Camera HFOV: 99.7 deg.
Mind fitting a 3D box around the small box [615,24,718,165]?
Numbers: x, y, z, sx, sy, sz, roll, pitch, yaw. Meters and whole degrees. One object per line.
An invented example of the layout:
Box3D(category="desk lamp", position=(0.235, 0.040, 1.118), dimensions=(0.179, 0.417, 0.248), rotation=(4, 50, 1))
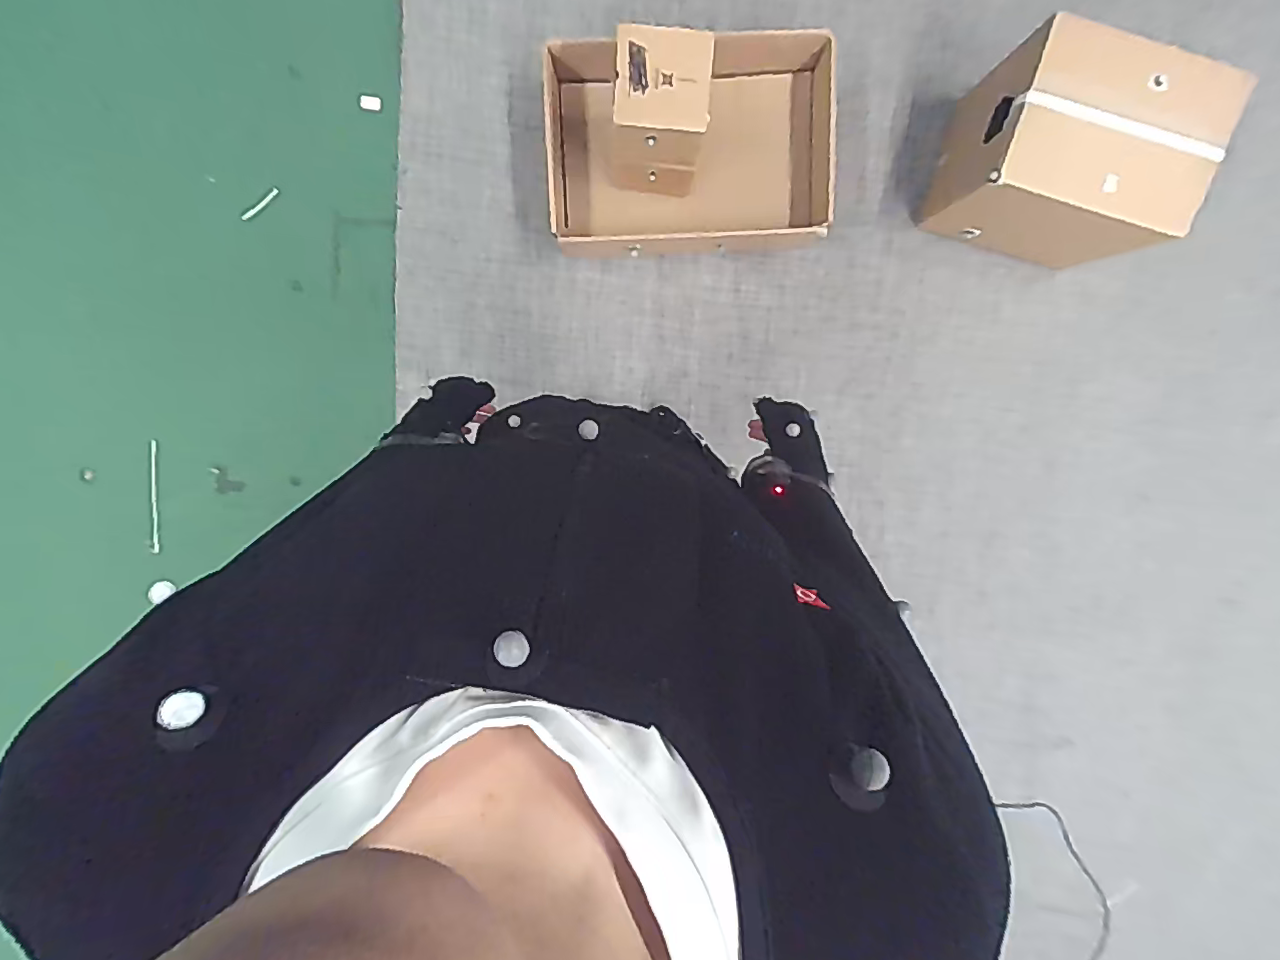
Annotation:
Box3D(category="small box", position=(0.045, -0.735, 1.051), dimensions=(0.179, 0.176, 0.168), rotation=(4, 100, -3))

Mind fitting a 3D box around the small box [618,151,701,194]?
Box3D(category="small box", position=(0.045, -0.762, 1.213), dimensions=(0.179, 0.176, 0.168), rotation=(4, 100, -3))
